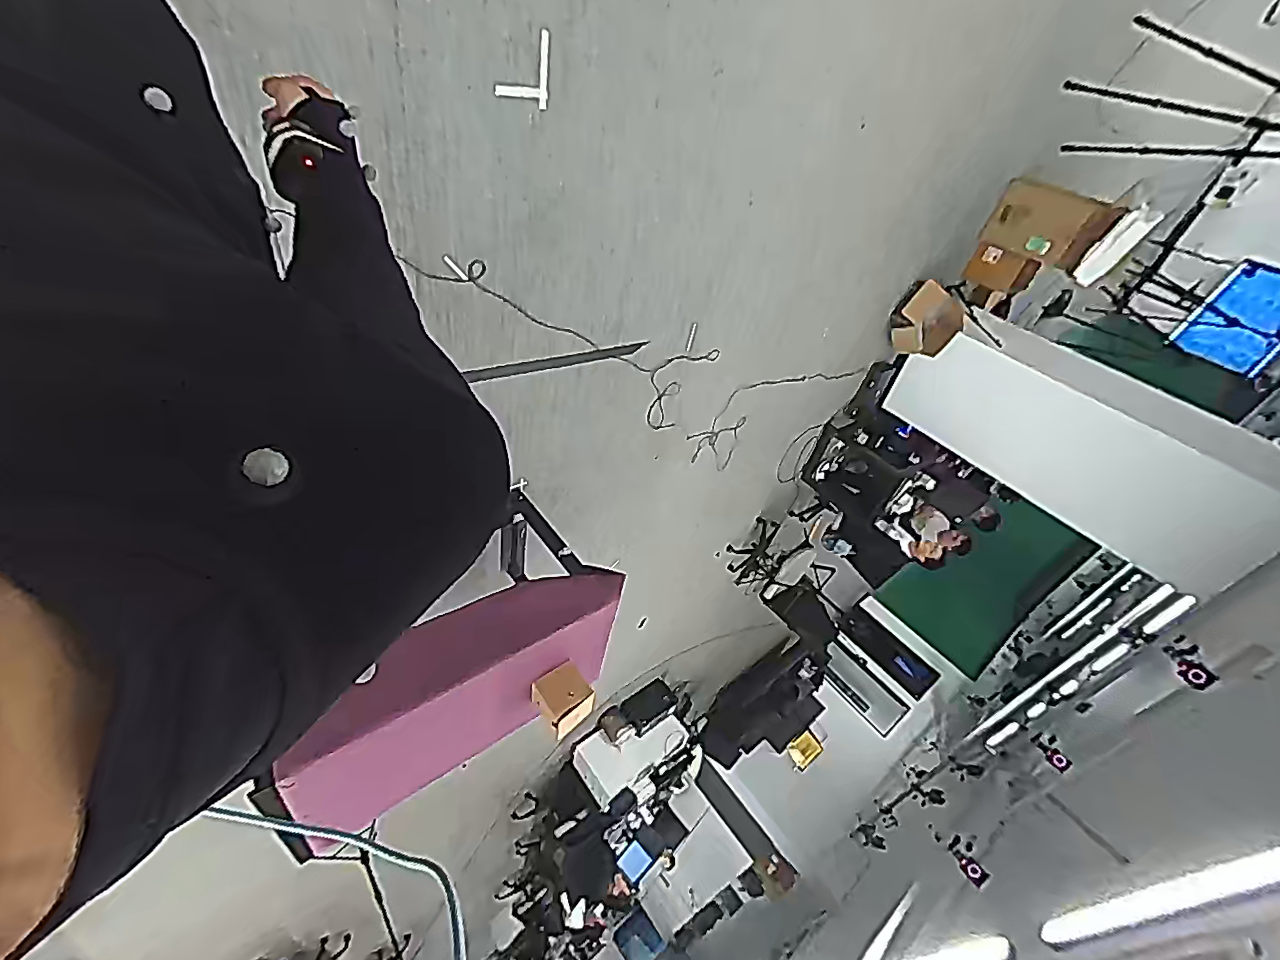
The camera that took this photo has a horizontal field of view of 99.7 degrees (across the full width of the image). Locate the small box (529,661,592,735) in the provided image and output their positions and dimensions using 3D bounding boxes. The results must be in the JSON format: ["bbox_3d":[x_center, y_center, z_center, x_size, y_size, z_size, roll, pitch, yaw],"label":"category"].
[{"bbox_3d":[-0.308,0.837,2.089,0.179,0.176,0.168,-23,142,-33],"label":"small box"}]
